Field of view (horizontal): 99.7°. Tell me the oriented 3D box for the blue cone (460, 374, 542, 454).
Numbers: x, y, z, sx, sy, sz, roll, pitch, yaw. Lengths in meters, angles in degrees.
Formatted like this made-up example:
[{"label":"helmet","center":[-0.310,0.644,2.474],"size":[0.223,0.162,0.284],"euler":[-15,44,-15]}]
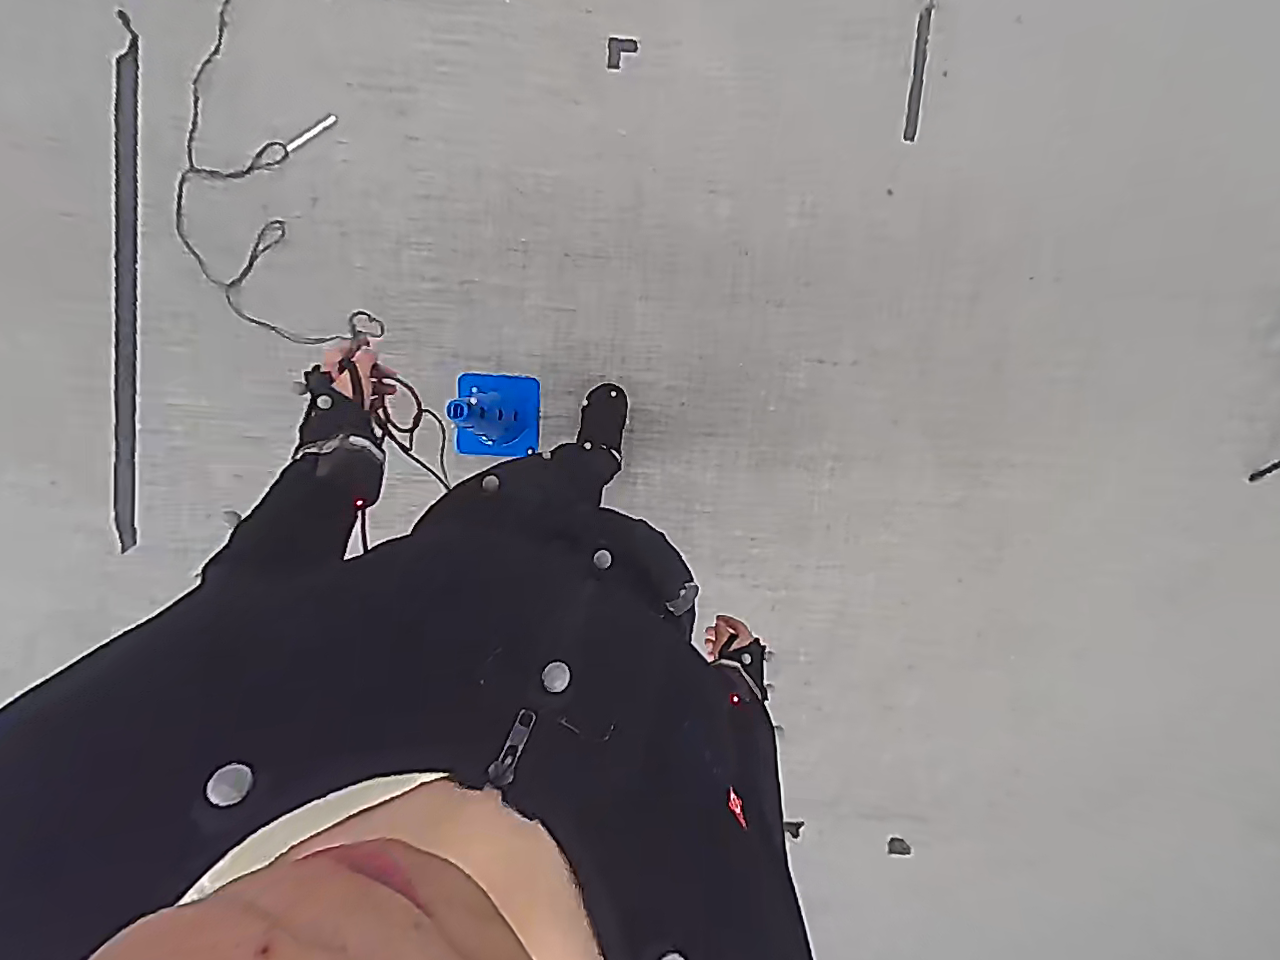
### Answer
[{"label":"blue cone","center":[-0.330,-0.147,1.160],"size":[0.192,0.380,0.193],"euler":[4,95,-4]}]
